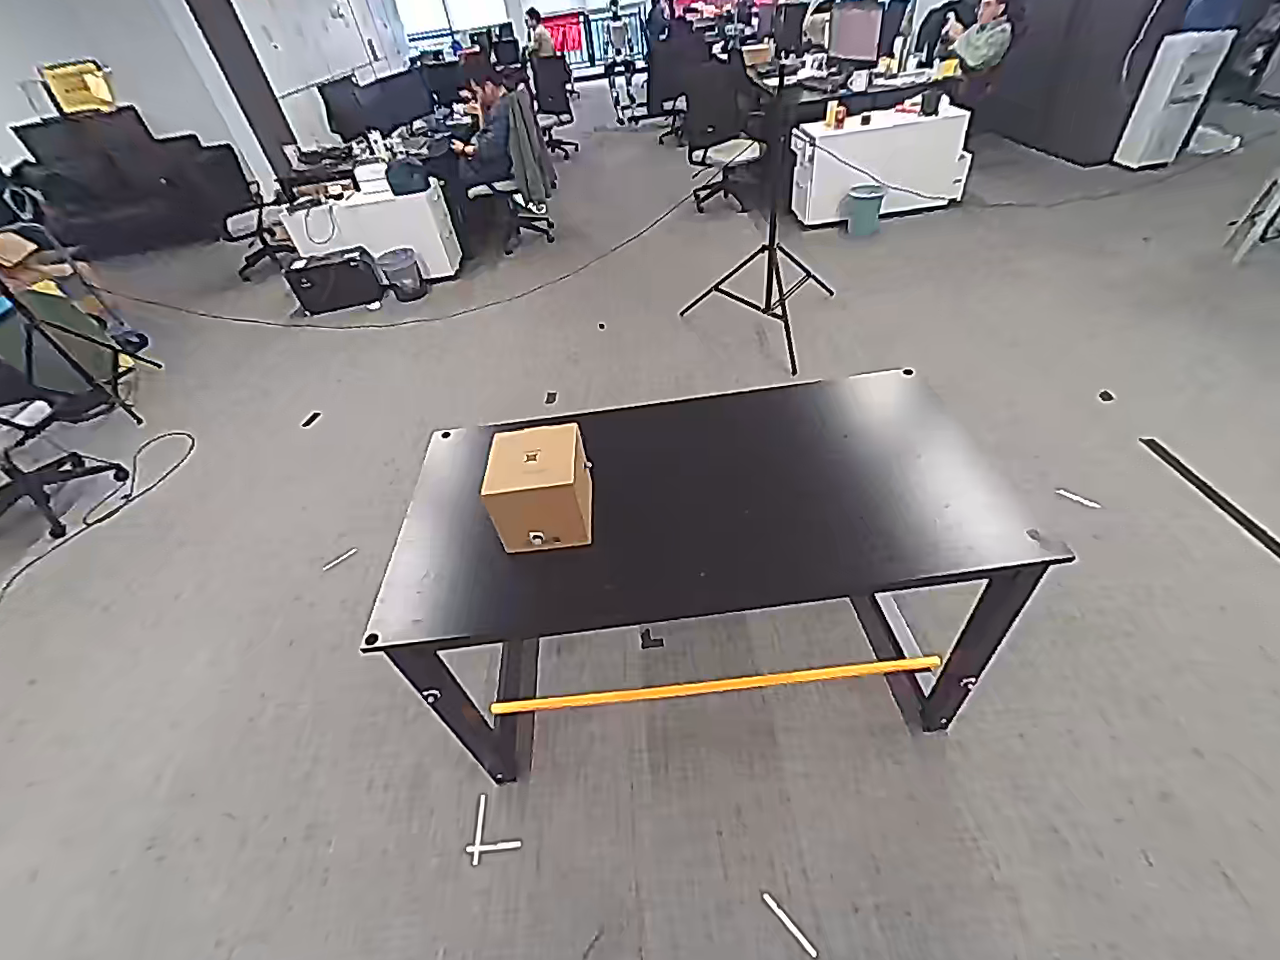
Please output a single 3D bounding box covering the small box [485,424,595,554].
[{"bbox_3d":[-0.183,0.018,1.045,0.168,0.176,0.179,-8,44,3],"label":"small box"}]
